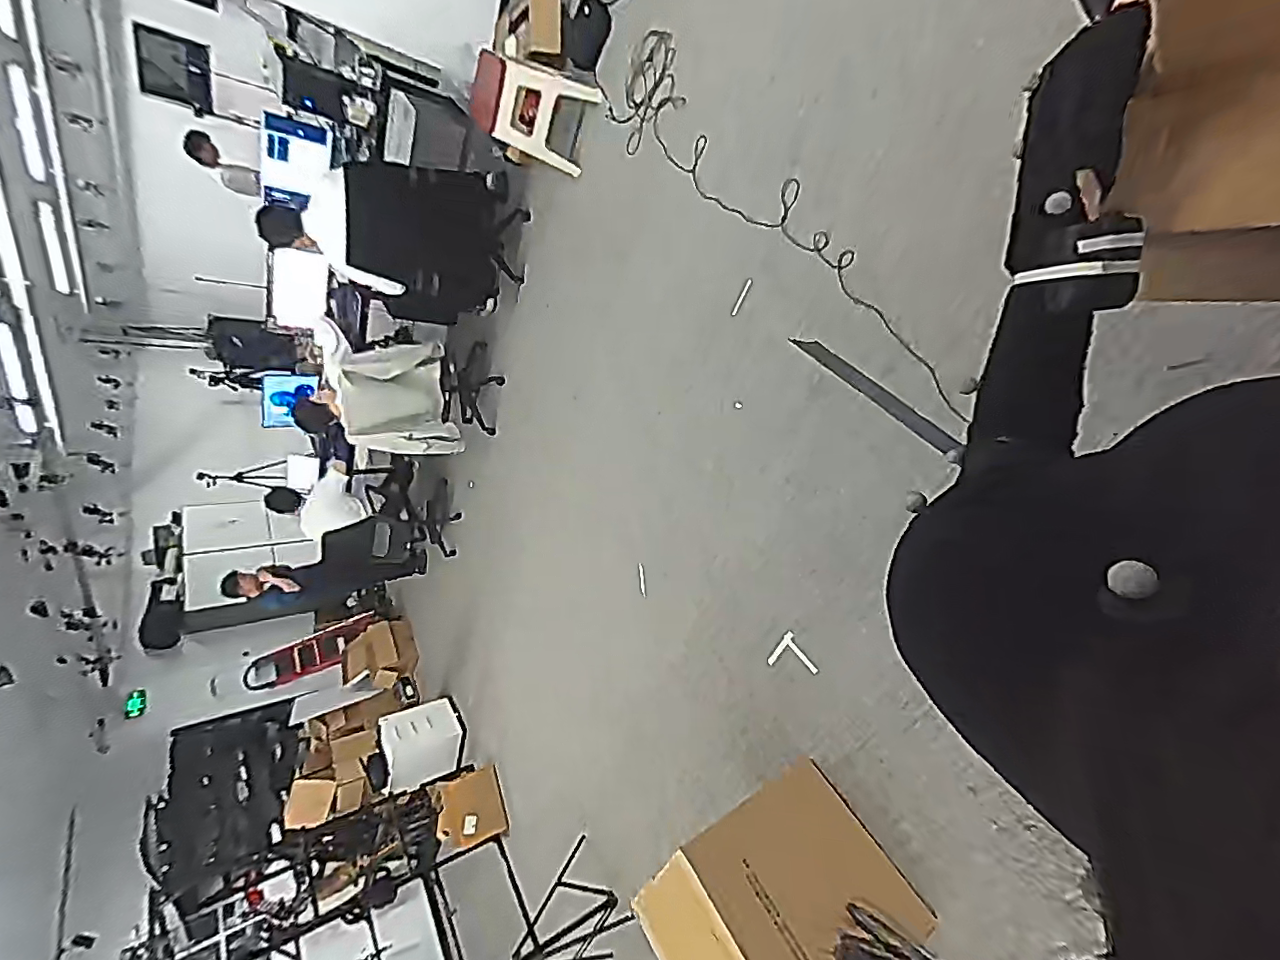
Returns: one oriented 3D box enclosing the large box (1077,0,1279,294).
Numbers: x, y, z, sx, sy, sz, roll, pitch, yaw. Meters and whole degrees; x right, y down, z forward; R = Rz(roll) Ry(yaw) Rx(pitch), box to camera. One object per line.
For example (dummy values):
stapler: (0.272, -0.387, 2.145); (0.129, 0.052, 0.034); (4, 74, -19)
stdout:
large box: (0.602, -0.320, 0.371); (0.408, 0.320, 0.320); (17, 107, 43)
